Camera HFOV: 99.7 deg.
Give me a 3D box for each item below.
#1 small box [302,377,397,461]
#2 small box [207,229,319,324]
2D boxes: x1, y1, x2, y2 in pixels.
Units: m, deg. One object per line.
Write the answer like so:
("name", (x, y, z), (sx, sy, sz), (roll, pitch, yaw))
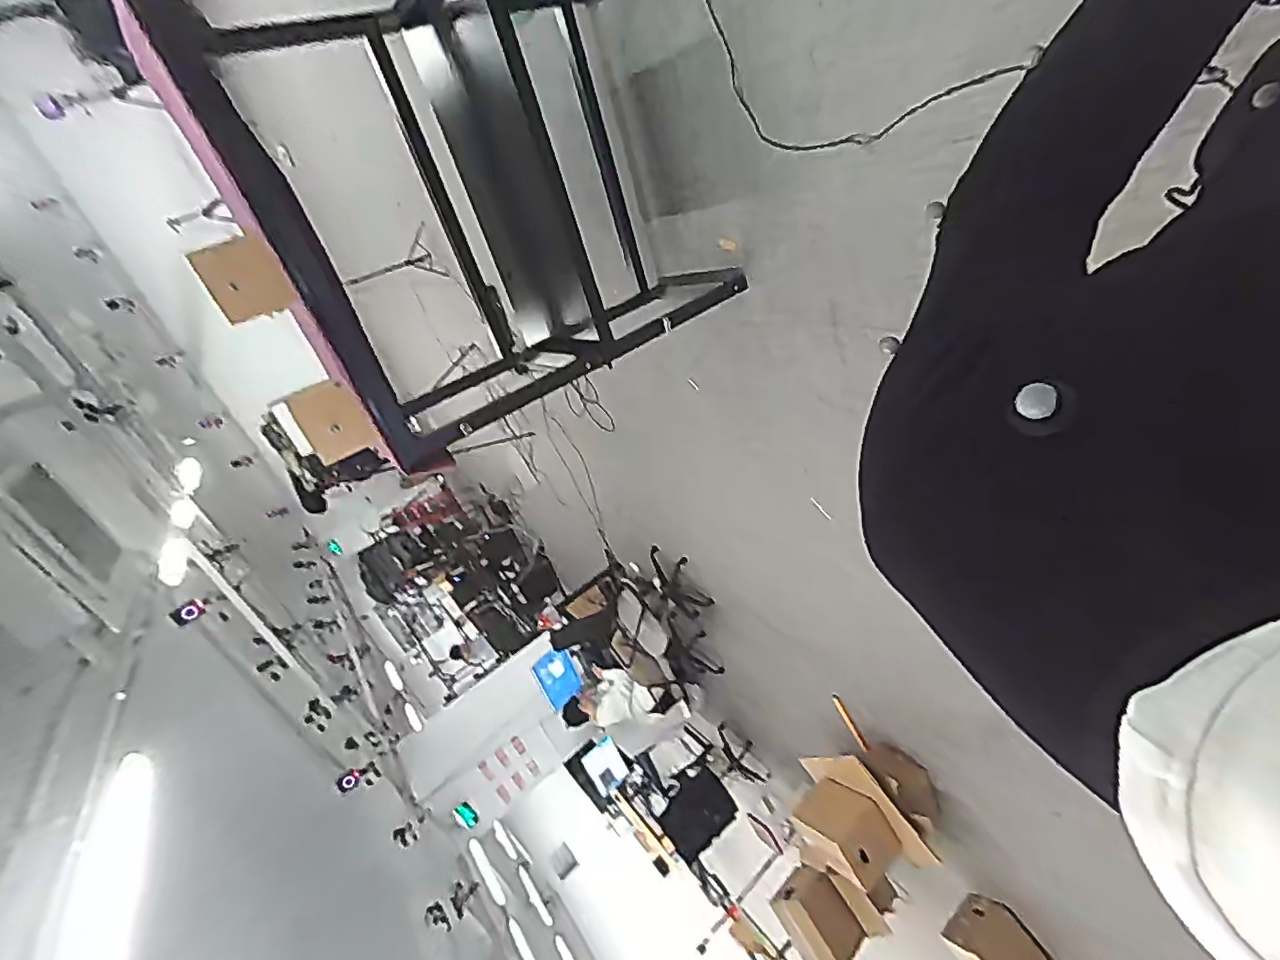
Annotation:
("small box", (-0.829, -0.182, 1.546), (0.168, 0.176, 0.179), (22, 139, 53))
("small box", (-0.942, -0.511, 1.363), (0.168, 0.176, 0.179), (25, 140, 51))
